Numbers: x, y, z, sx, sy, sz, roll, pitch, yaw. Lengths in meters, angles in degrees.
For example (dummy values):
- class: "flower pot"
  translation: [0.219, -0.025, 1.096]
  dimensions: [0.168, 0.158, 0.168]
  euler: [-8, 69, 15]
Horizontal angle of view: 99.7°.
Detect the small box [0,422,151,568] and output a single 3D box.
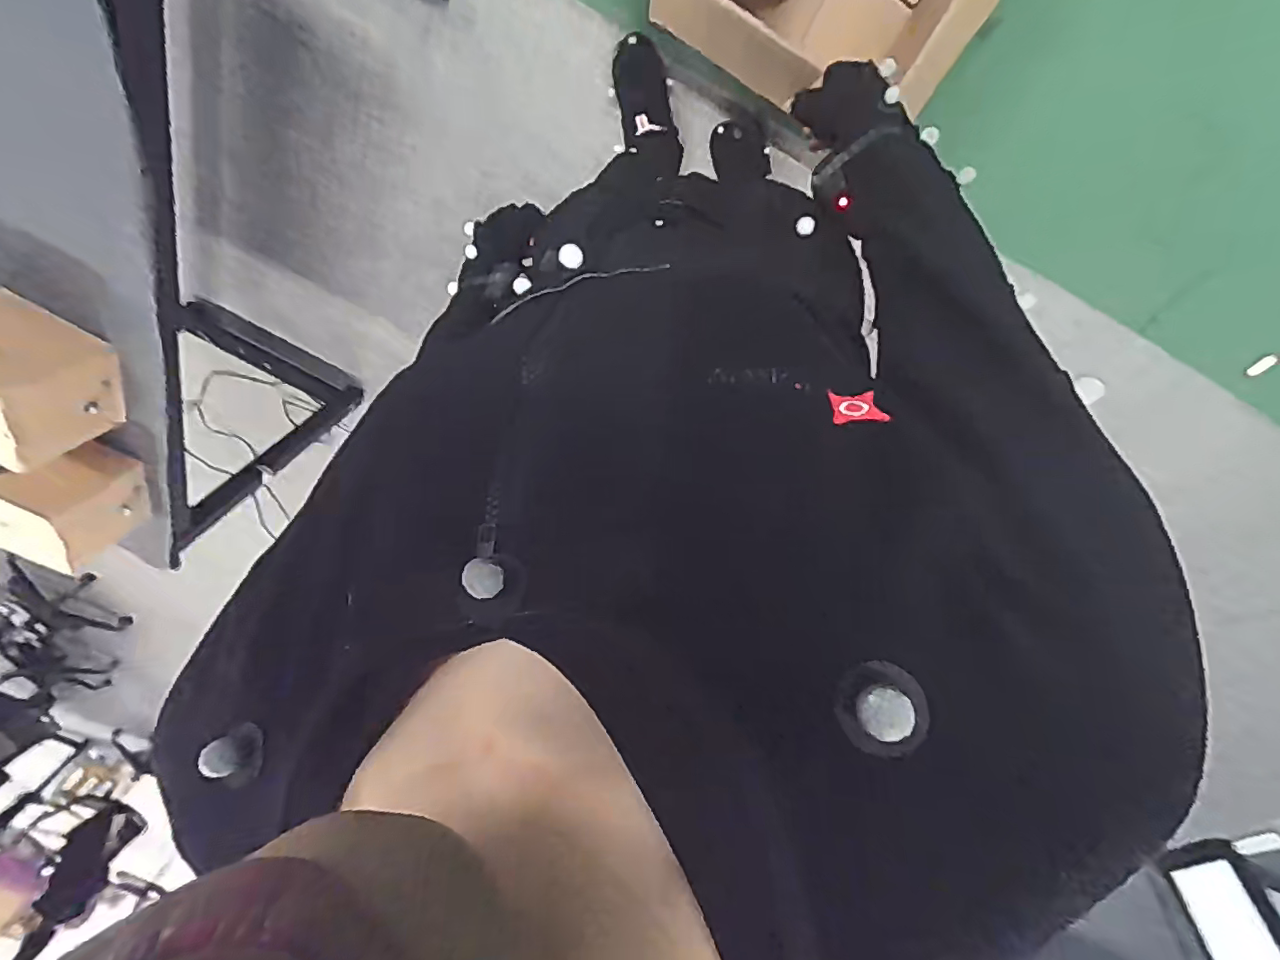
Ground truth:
- class: "small box"
  translation: [-1.047, 0.019, 0.977]
  dimensions: [0.179, 0.176, 0.168]
  euler: [28, 128, -8]
